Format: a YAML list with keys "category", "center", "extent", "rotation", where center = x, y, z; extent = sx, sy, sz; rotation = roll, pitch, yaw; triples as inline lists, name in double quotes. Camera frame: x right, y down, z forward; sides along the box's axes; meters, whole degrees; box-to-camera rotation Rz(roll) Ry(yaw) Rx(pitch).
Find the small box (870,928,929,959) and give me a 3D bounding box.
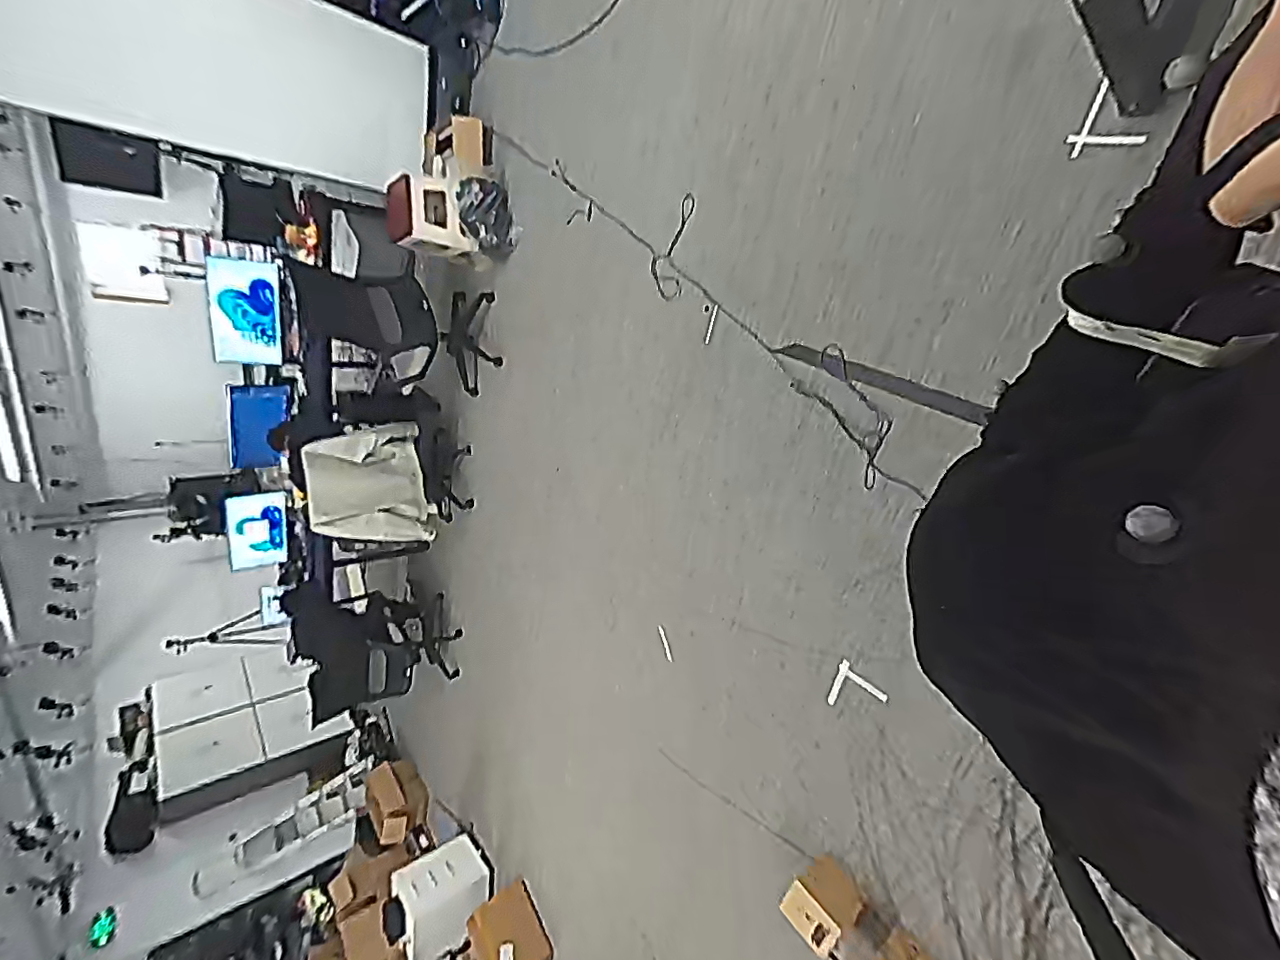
- category: "small box"
  center: [0.757, 1.483, 1.582]
  extent: [0.168, 0.176, 0.179]
  rotation: [36, 121, 38]
